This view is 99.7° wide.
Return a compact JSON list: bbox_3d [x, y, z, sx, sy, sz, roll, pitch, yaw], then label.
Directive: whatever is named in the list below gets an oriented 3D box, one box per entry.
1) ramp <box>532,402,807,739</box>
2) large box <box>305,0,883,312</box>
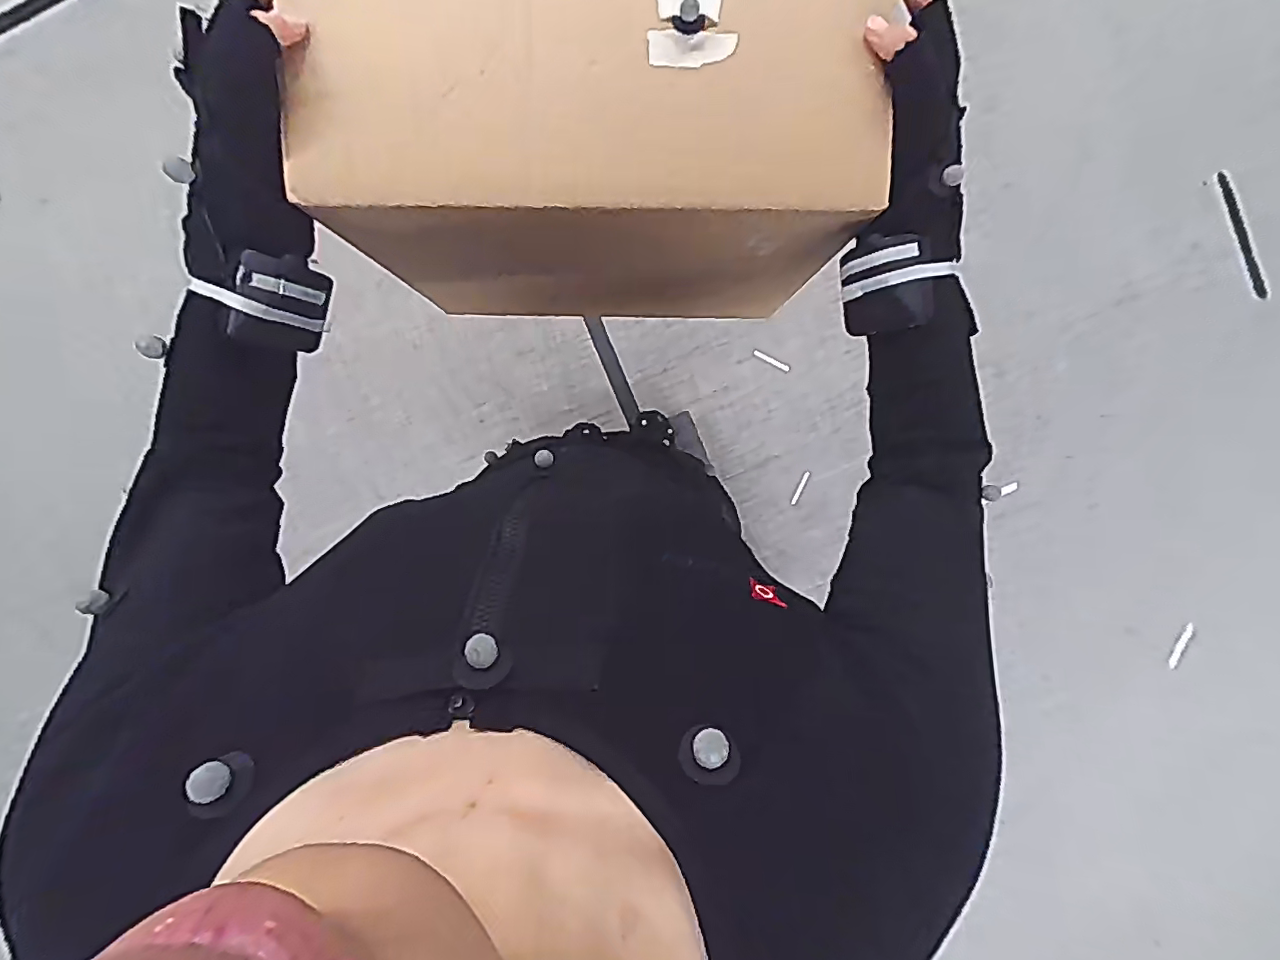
[{"bbox_3d":[0.122,0.313,1.613,0.509,0.206,0.991,-26,96,3],"label":"ramp"},{"bbox_3d":[-0.033,-0.355,0.519,0.408,0.320,0.320,0,94,-1],"label":"large box"}]
